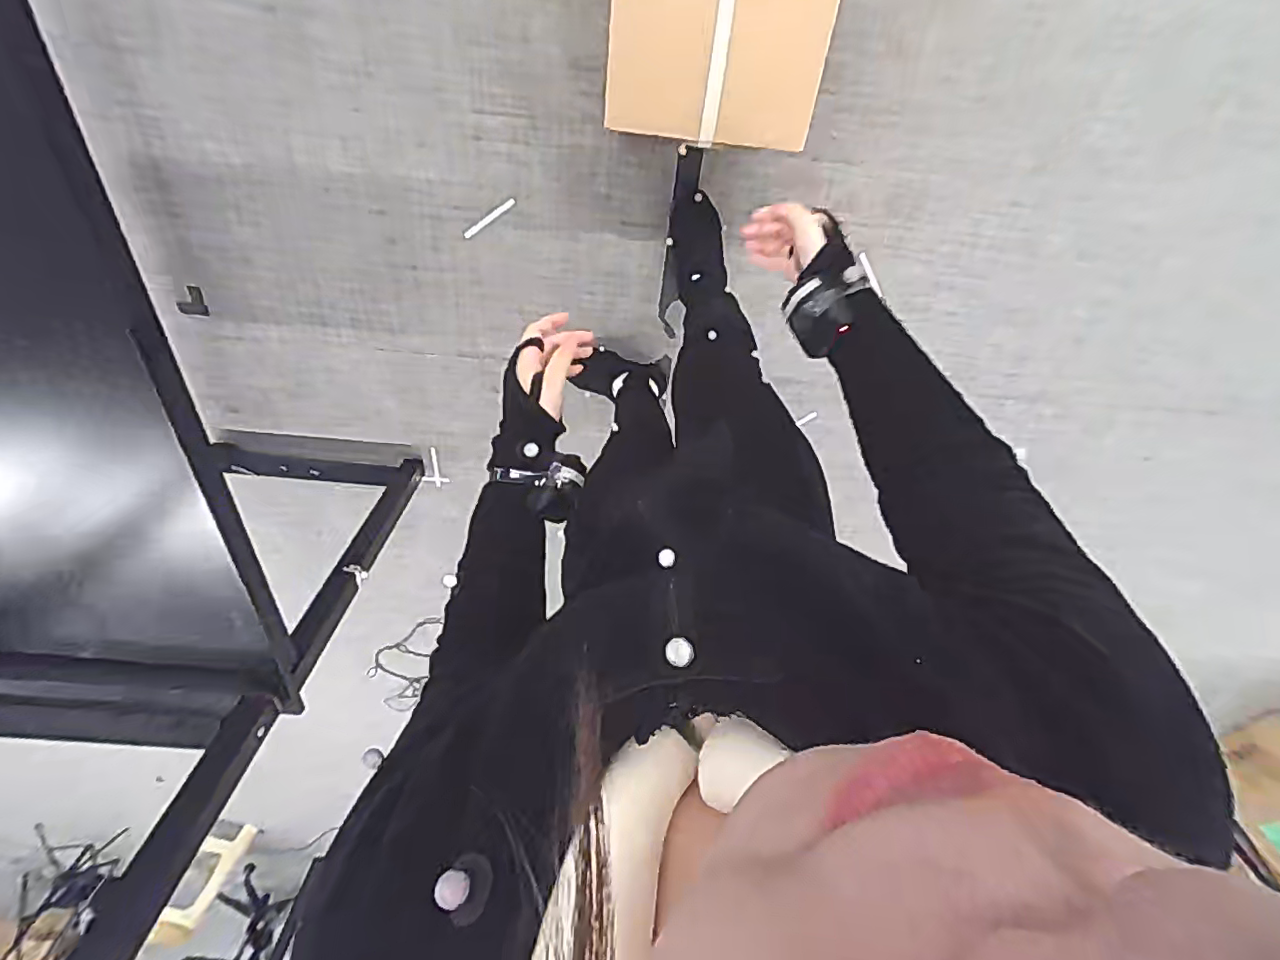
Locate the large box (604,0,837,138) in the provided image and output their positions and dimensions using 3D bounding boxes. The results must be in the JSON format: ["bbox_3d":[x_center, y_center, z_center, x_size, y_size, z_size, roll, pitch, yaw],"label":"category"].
[{"bbox_3d":[0.119,-0.776,0.824,0.320,0.320,0.408,5,125,-4],"label":"large box"}]
